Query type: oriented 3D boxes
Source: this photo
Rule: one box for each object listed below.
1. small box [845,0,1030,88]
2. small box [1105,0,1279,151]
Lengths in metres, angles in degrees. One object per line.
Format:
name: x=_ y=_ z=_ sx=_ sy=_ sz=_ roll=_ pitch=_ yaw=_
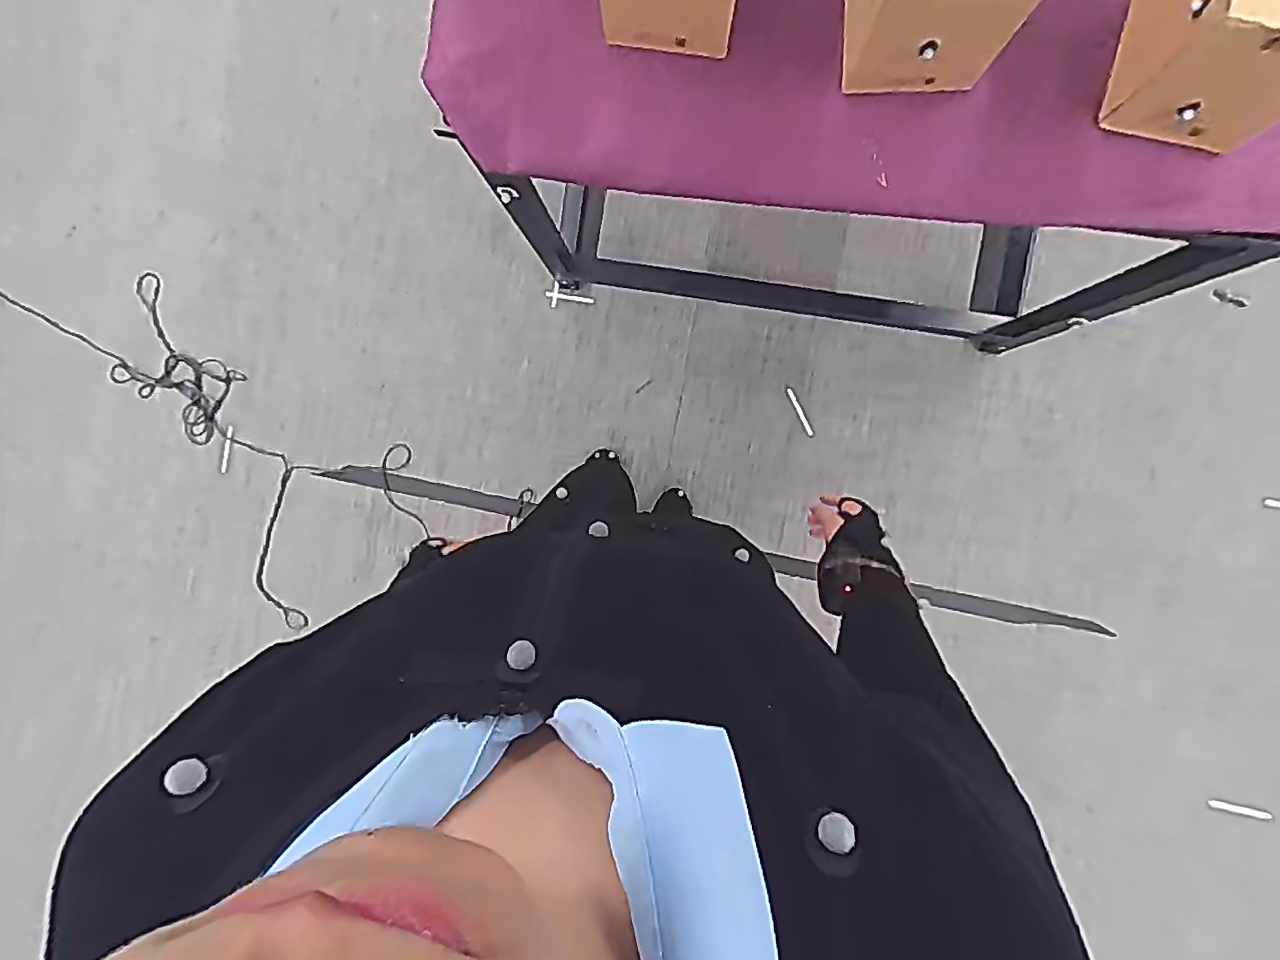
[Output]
small box: x=0.348 y=-0.595 z=0.630 sx=0.168 sy=0.176 sz=0.179 roll=1 pitch=91 yaw=3
small box: x=0.684 y=-0.520 z=0.610 sx=0.168 sy=0.176 sz=0.179 roll=15 pitch=92 yaw=4
